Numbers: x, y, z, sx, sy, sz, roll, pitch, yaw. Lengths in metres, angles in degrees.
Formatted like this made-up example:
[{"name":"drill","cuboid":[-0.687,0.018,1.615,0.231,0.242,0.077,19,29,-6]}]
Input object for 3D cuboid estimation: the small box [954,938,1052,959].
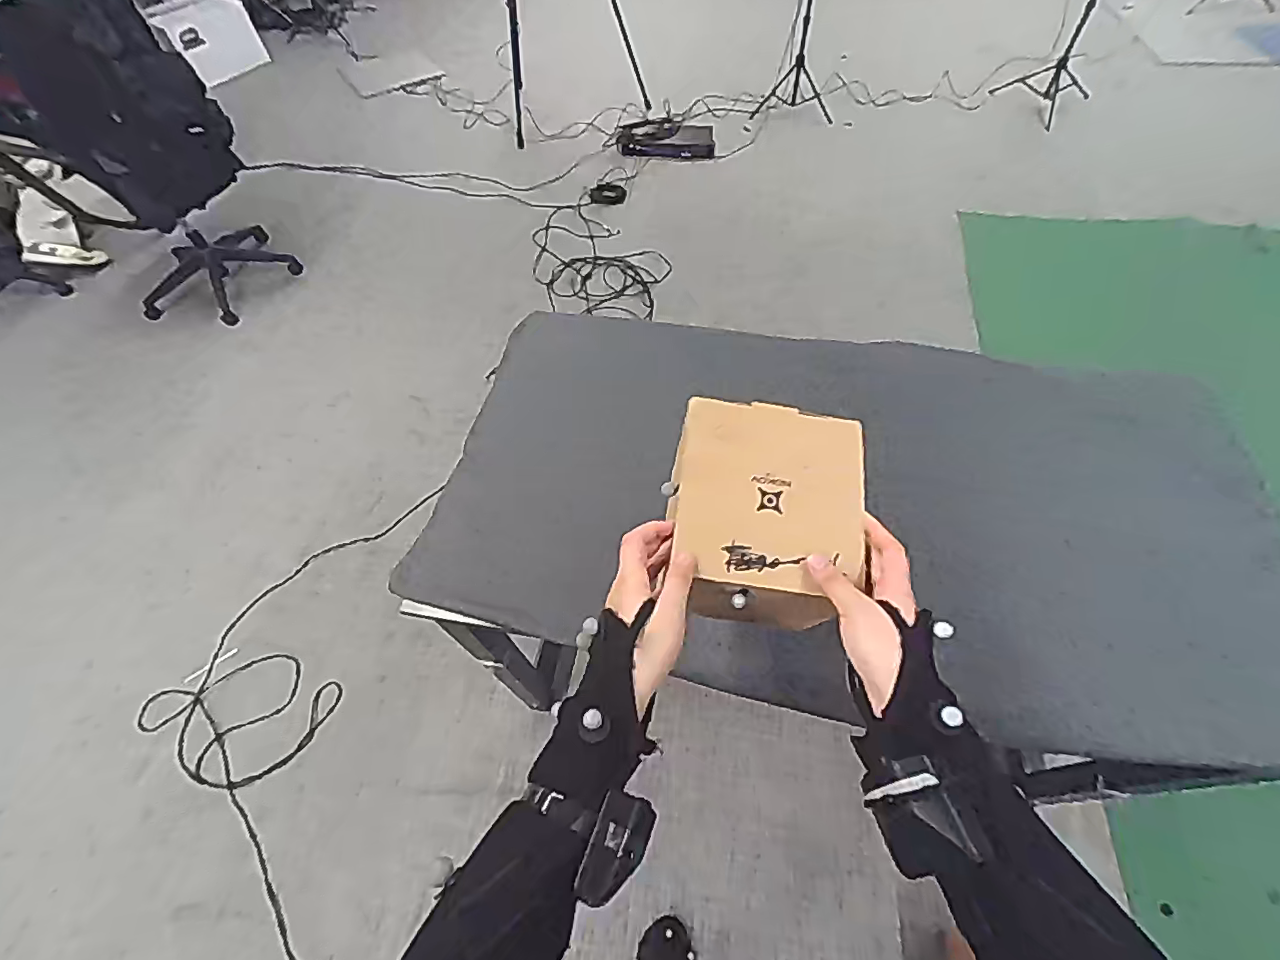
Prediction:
[{"name":"small box","cuboid":[0.683,0.945,0.952,0.168,0.176,0.179,5,56,8]}]
